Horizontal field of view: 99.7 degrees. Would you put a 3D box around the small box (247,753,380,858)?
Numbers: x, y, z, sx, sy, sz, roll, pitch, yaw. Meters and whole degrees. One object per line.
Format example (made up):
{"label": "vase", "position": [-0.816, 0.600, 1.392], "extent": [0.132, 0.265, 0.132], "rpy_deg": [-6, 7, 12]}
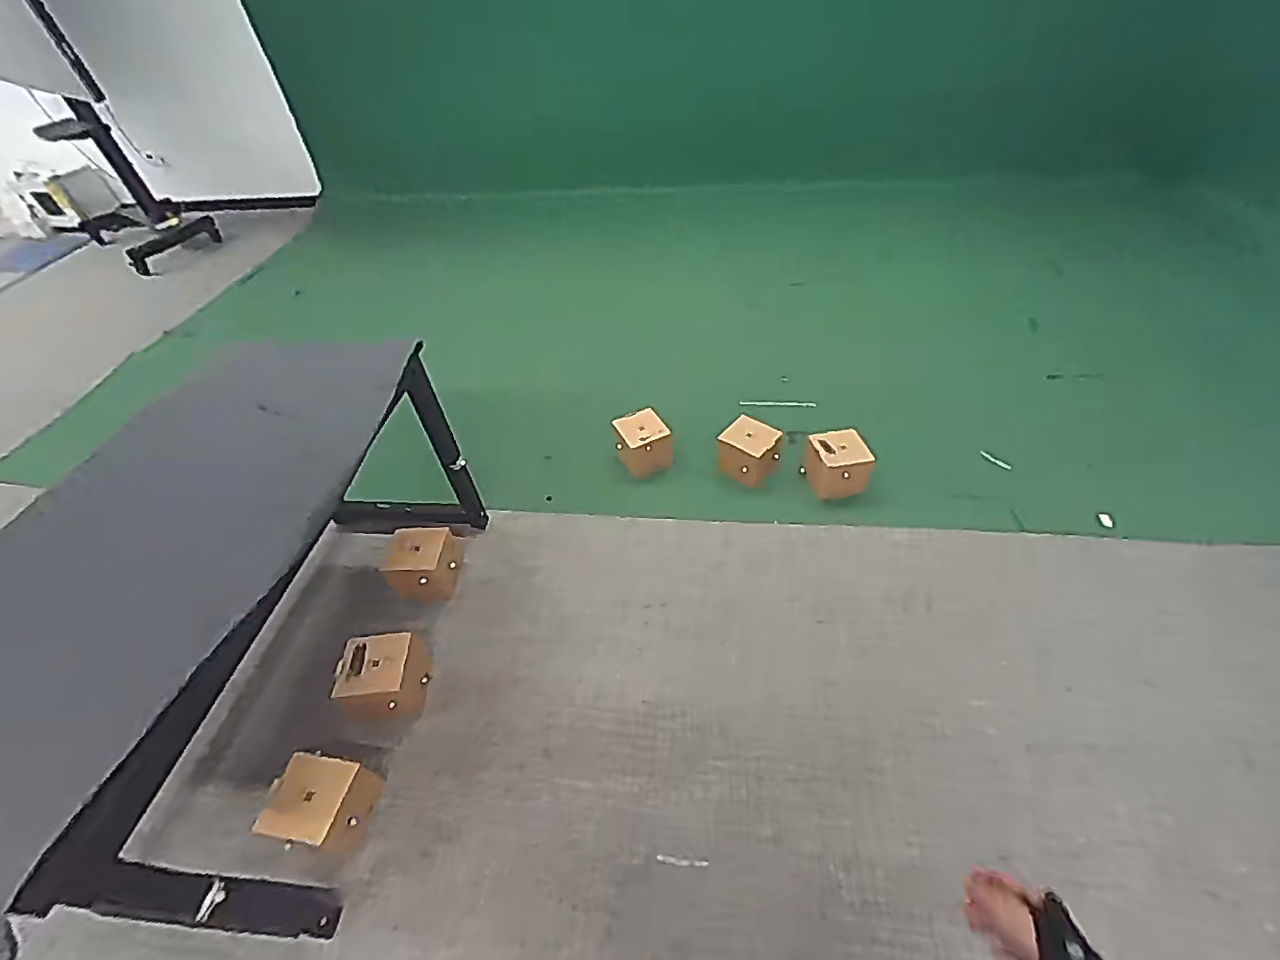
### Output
{"label": "small box", "position": [-0.748, 0.764, 1.265], "extent": [0.179, 0.176, 0.168], "rpy_deg": [5, 47, 10]}

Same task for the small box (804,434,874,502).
{"label": "small box", "position": [0.693, -0.038, 1.912], "extent": [0.179, 0.176, 0.168], "rpy_deg": [-9, 47, -5]}

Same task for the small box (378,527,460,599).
{"label": "small box", "position": [-0.694, 0.268, 1.727], "extent": [0.179, 0.176, 0.168], "rpy_deg": [-1, 46, 3]}

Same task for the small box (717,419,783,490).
{"label": "small box", "position": [0.398, -0.089, 1.985], "extent": [0.179, 0.176, 0.168], "rpy_deg": [30, 55, 29]}

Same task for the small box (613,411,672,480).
{"label": "small box", "position": [0.010, -0.131, 2.055], "extent": [0.168, 0.176, 0.179], "rpy_deg": [-21, 48, -15]}
